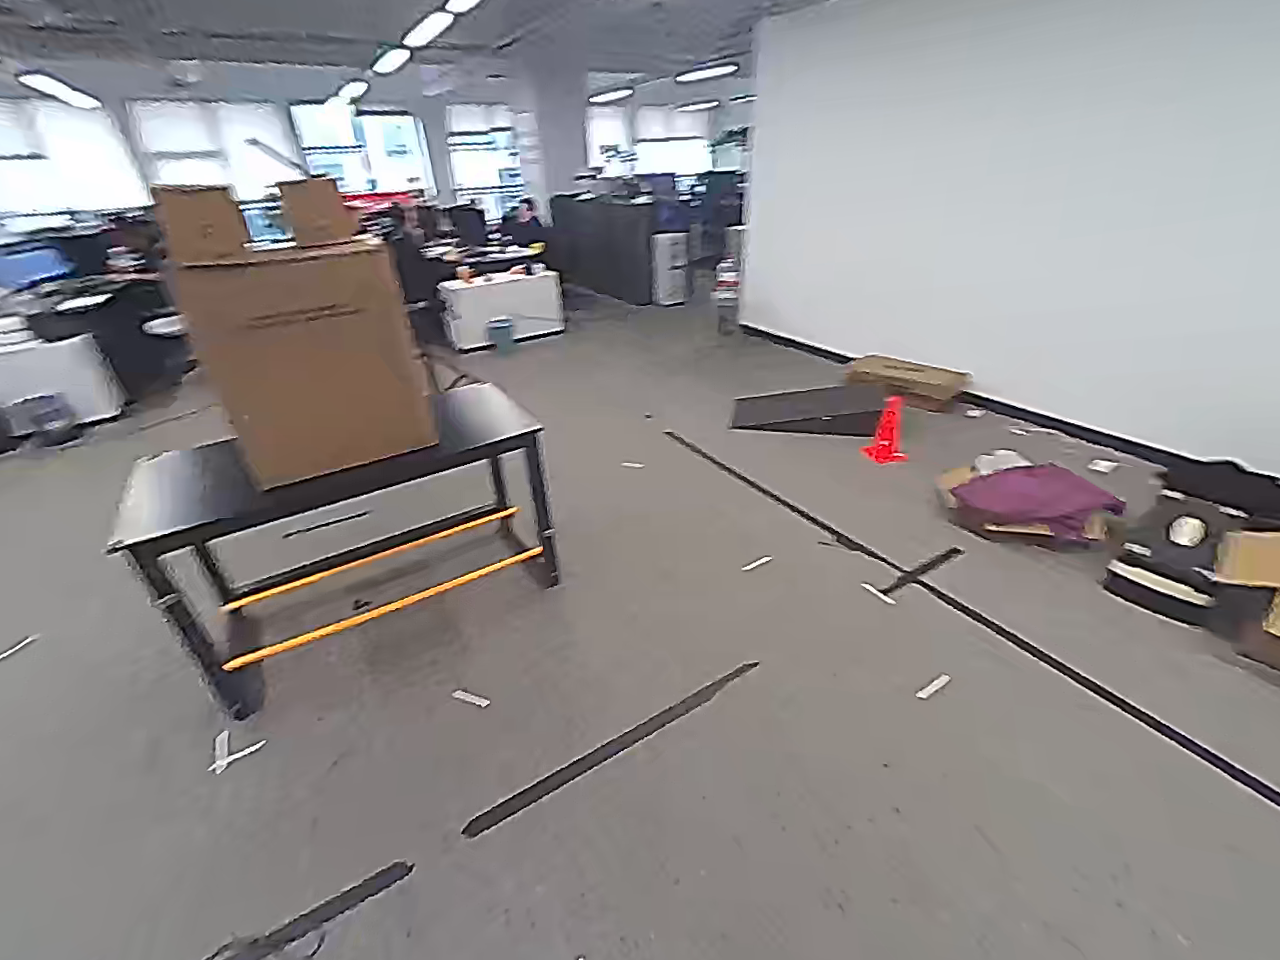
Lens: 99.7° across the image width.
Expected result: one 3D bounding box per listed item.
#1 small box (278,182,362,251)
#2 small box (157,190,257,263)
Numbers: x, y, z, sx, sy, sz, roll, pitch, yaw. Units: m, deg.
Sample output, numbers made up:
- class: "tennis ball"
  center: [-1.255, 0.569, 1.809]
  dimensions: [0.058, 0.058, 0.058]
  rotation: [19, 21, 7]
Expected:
- class: "small box"
  center: [-0.944, -0.779, 1.597]
  dimensions: [0.168, 0.176, 0.179]
  rotation: [-22, 35, -27]
- class: "small box"
  center: [-1.180, -0.698, 1.485]
  dimensions: [0.168, 0.176, 0.179]
  rotation: [-20, 35, -27]
